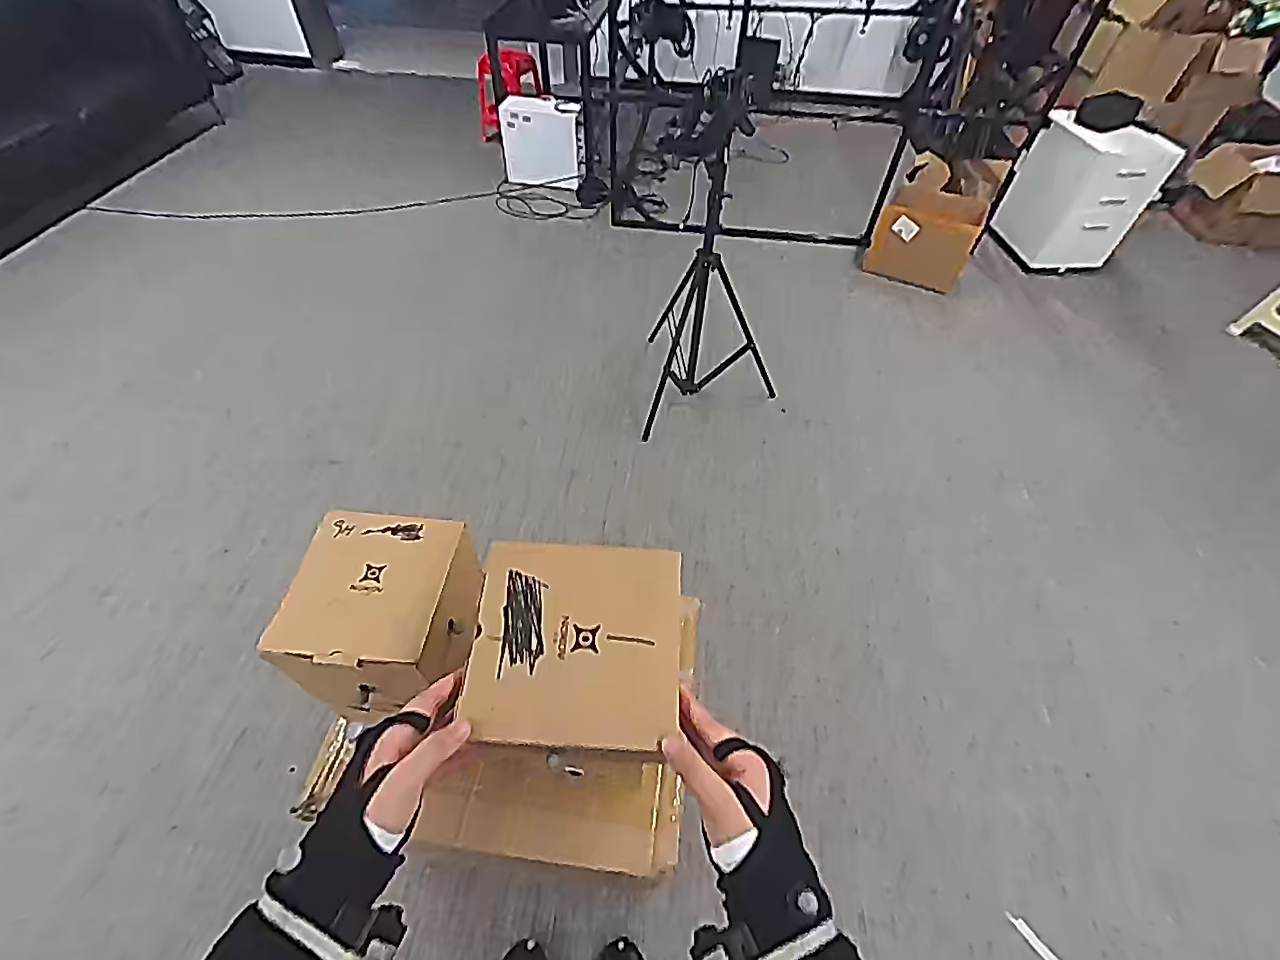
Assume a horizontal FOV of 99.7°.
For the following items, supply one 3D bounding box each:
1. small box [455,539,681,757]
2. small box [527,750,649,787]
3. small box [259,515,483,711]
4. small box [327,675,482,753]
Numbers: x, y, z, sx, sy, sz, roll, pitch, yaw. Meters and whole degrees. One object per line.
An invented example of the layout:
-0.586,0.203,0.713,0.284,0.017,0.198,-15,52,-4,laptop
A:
-0.055,0.170,0.526,0.179,0.176,0.168,3,59,0,small box
-0.063,0.309,0.757,0.168,0.176,0.179,5,52,5,small box
-0.297,0.165,0.651,0.168,0.176,0.179,5,51,1,small box
-0.303,0.270,0.777,0.168,0.176,0.179,6,51,1,small box
